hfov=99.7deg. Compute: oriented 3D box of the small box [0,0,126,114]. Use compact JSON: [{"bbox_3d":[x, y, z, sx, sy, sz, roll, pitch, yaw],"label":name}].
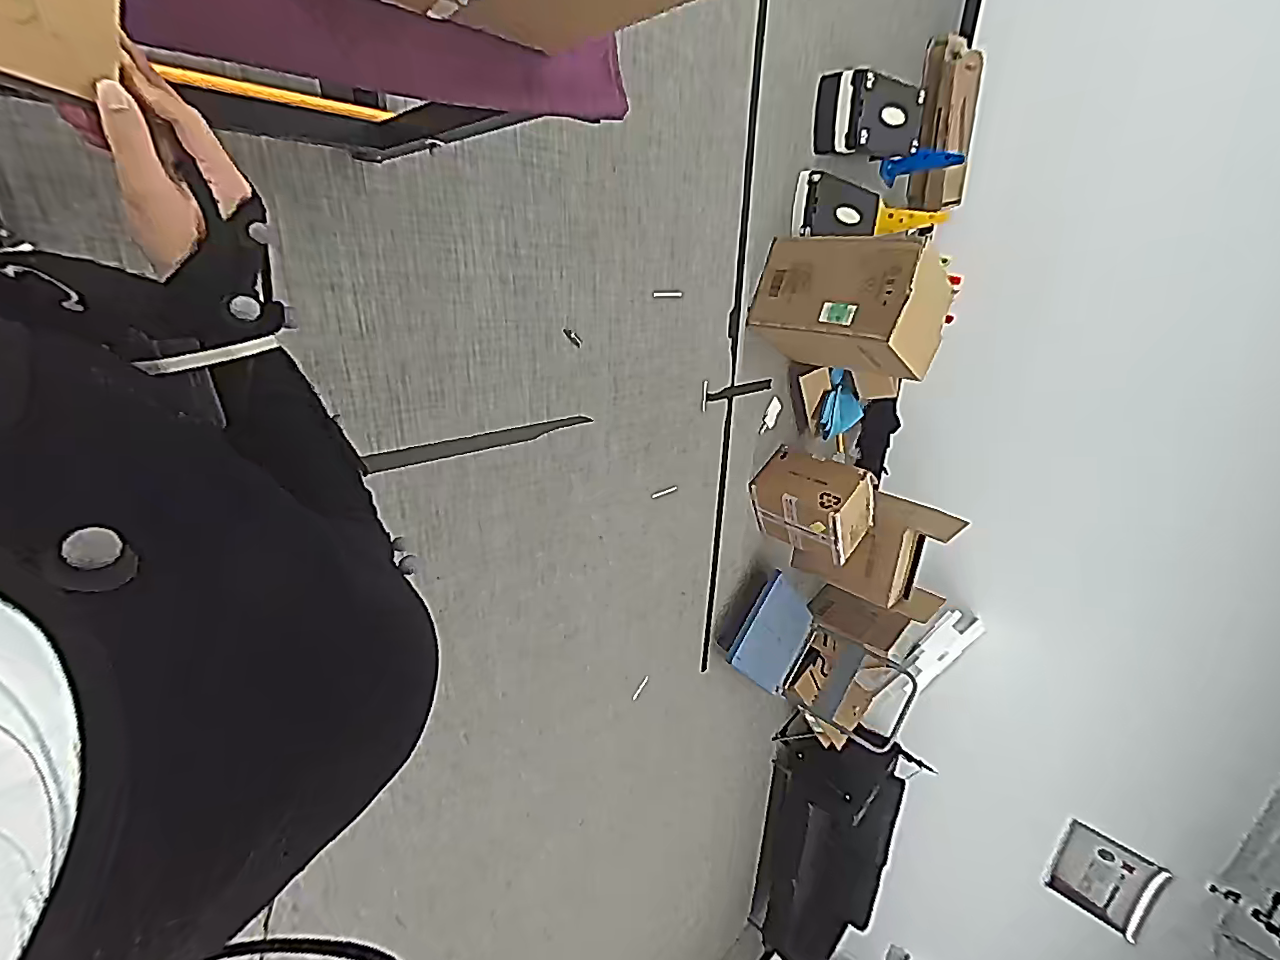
[{"bbox_3d":[-0.368,-0.310,0.257,0.168,0.176,0.179,-3,117,-49],"label":"small box"}]
